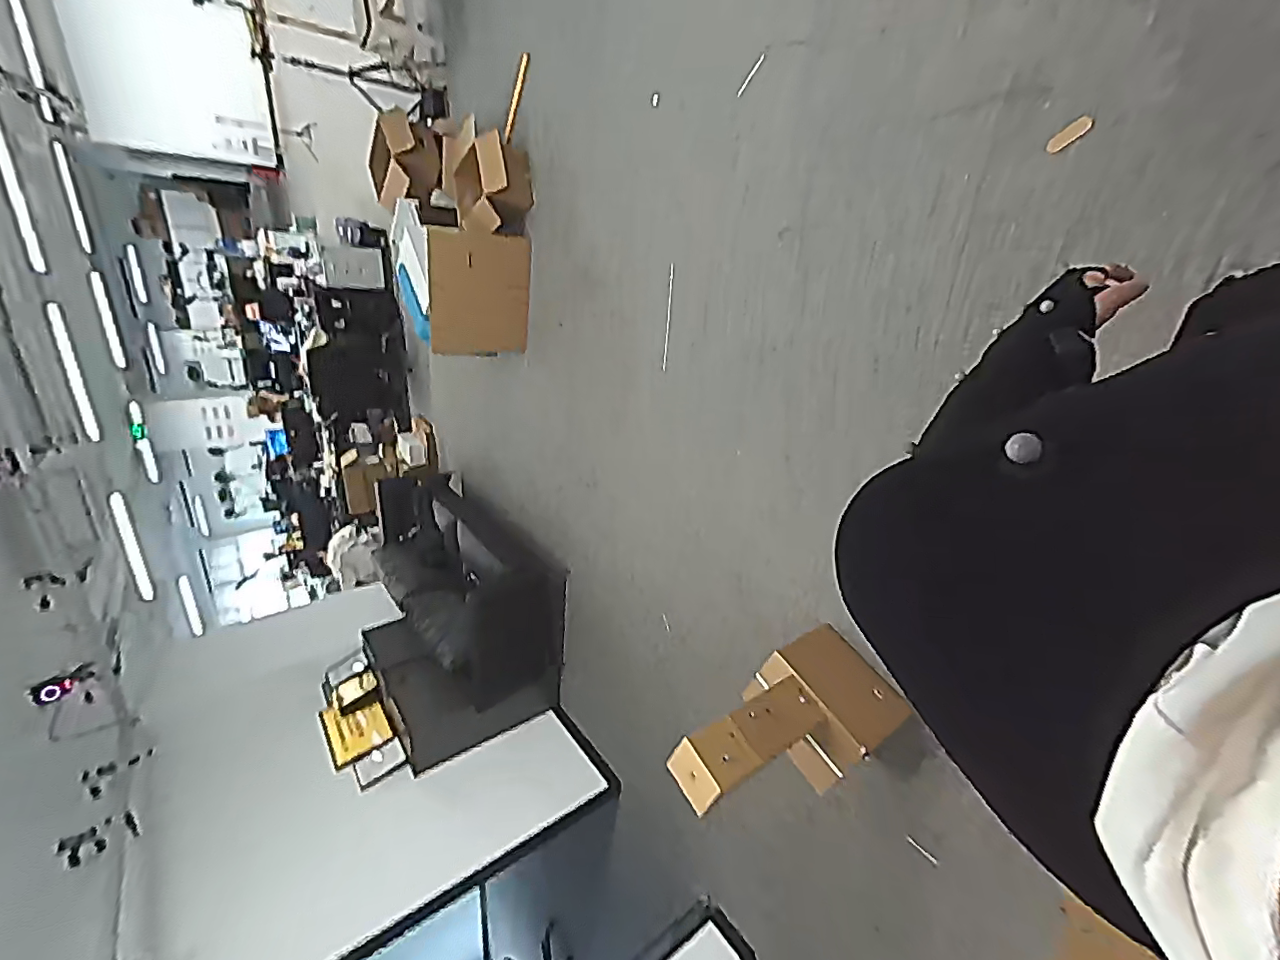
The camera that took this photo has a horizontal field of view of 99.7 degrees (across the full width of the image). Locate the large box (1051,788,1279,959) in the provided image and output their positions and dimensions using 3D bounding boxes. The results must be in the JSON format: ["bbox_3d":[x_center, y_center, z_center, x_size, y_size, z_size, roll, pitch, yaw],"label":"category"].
[{"bbox_3d":[1.257,0.966,1.227,0.408,0.320,0.320,-20,86,53],"label":"large box"}]

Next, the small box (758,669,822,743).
[{"bbox_3d":[0.469,0.764,1.797,0.168,0.176,0.179,50,135,32],"label":"small box"}]

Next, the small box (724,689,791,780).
[{"bbox_3d":[0.345,0.789,1.695,0.168,0.176,0.179,49,135,33],"label":"small box"}]

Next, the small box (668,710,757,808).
[{"bbox_3d":[0.217,0.818,1.599,0.168,0.176,0.179,48,135,34],"label":"small box"}]
